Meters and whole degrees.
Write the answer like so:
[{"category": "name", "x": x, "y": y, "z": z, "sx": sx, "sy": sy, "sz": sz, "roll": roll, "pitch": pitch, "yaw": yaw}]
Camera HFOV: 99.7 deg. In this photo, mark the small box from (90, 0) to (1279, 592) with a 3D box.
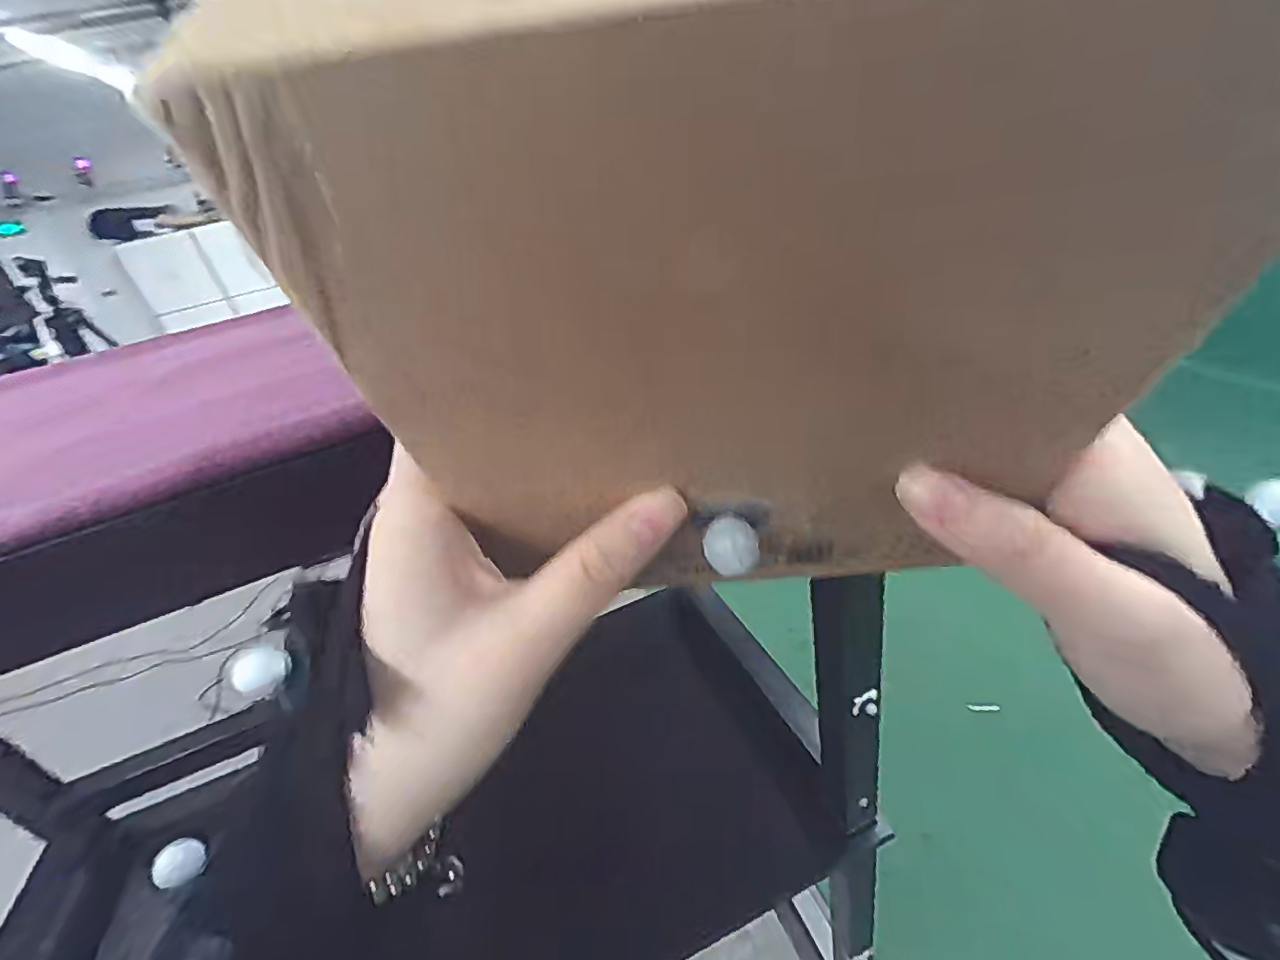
[{"category": "small box", "x": 0.022, "y": -0.080, "z": 0.169, "sx": 0.168, "sy": 0.176, "sz": 0.179, "roll": -4, "pitch": 58, "yaw": 5}]
